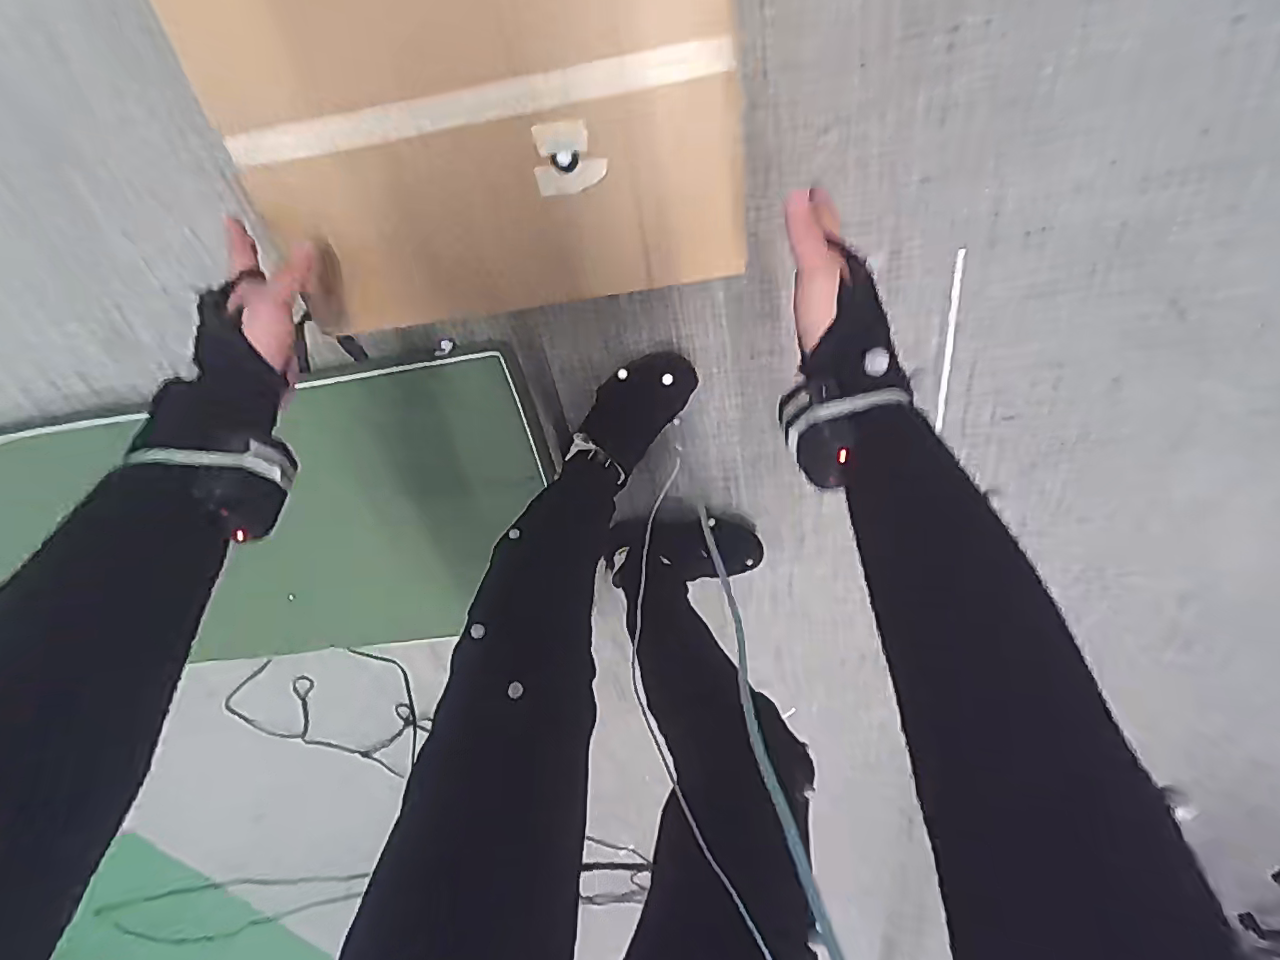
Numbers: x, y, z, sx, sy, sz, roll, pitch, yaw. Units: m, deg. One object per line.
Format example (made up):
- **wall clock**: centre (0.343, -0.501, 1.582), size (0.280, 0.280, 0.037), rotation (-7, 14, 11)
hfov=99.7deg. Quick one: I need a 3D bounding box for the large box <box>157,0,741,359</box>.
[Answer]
- **large box**: centre (-0.129, -0.352, 0.553), size (0.408, 0.320, 0.320), rotation (-7, 124, 6)
